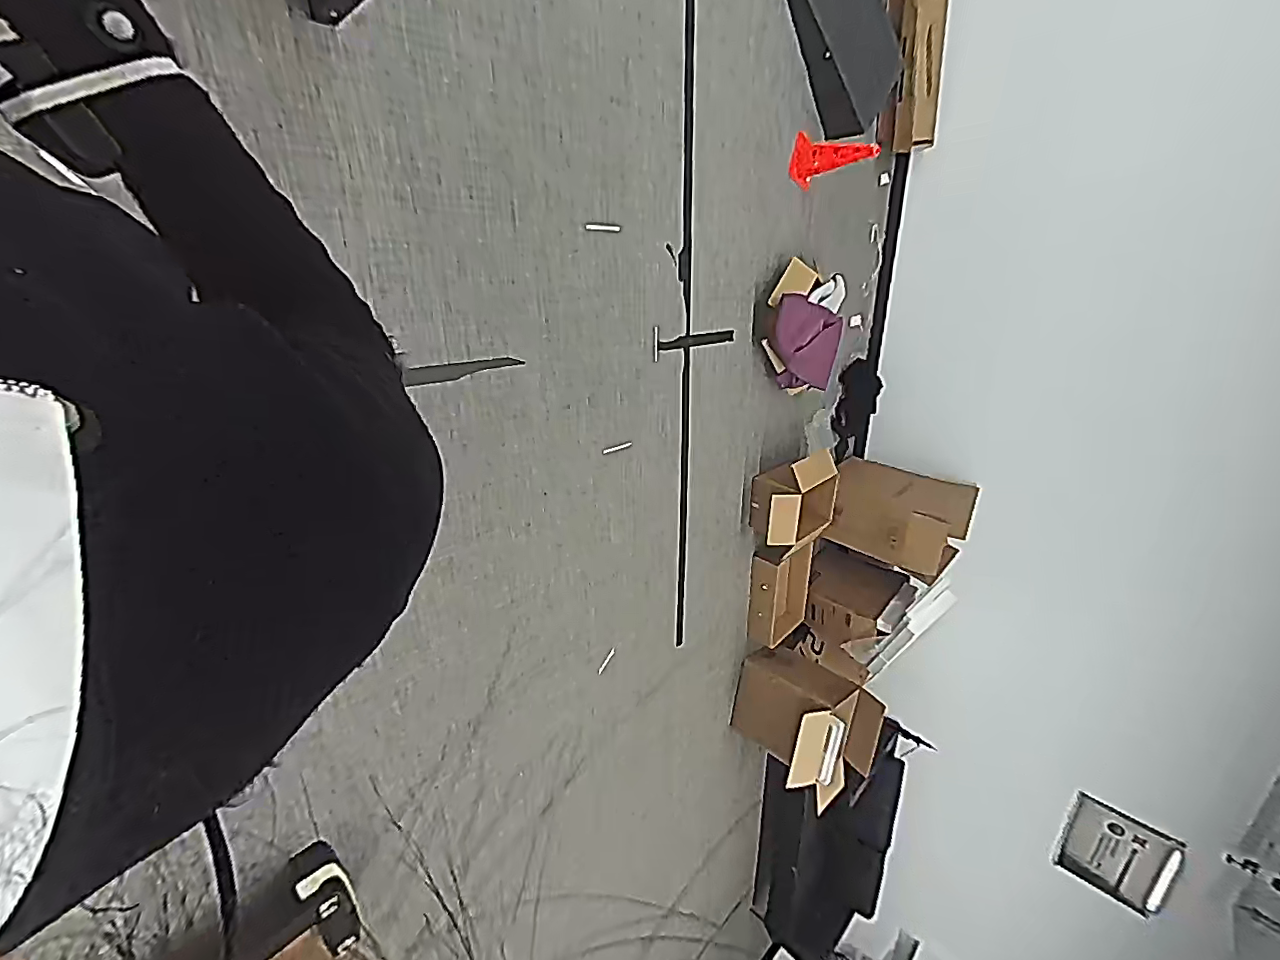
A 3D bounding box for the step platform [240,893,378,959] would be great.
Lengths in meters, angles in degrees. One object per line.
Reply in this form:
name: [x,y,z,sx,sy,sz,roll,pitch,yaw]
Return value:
step platform: [-1.012,1.385,1.307,0.684,0.204,0.286,-23,122,-40]
